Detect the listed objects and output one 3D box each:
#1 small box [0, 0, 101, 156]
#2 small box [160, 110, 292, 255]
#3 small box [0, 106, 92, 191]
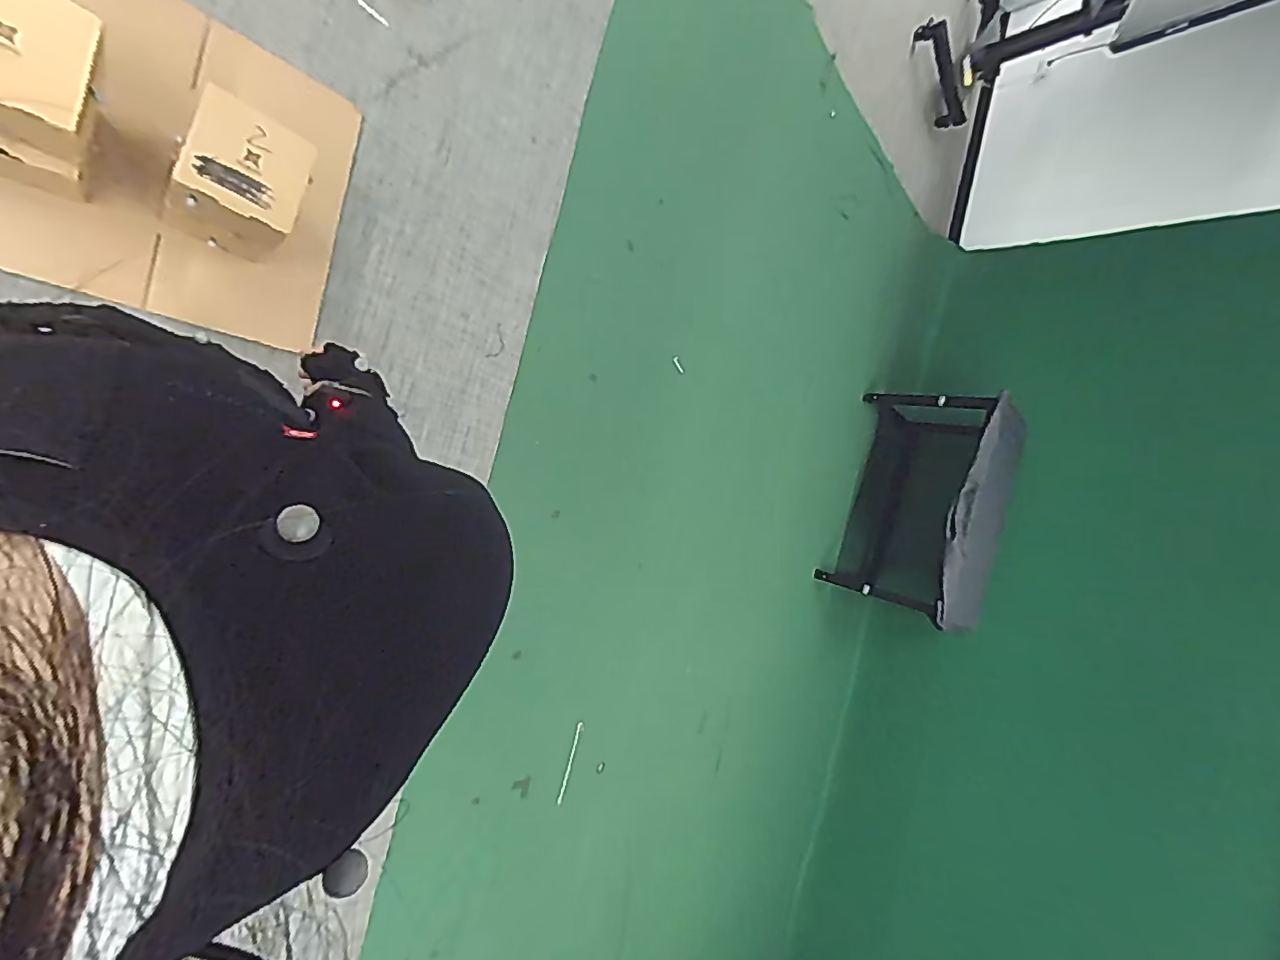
[{"bbox_3d":[-0.904,-0.609,0.770,0.168,0.176,0.179,14,89,-45],"label":"small box"},{"bbox_3d":[-0.831,-0.579,1.080,0.168,0.176,0.179,19,86,-44],"label":"small box"},{"bbox_3d":[-1.026,-0.607,0.883,0.168,0.176,0.179,9,92,-45],"label":"small box"}]
